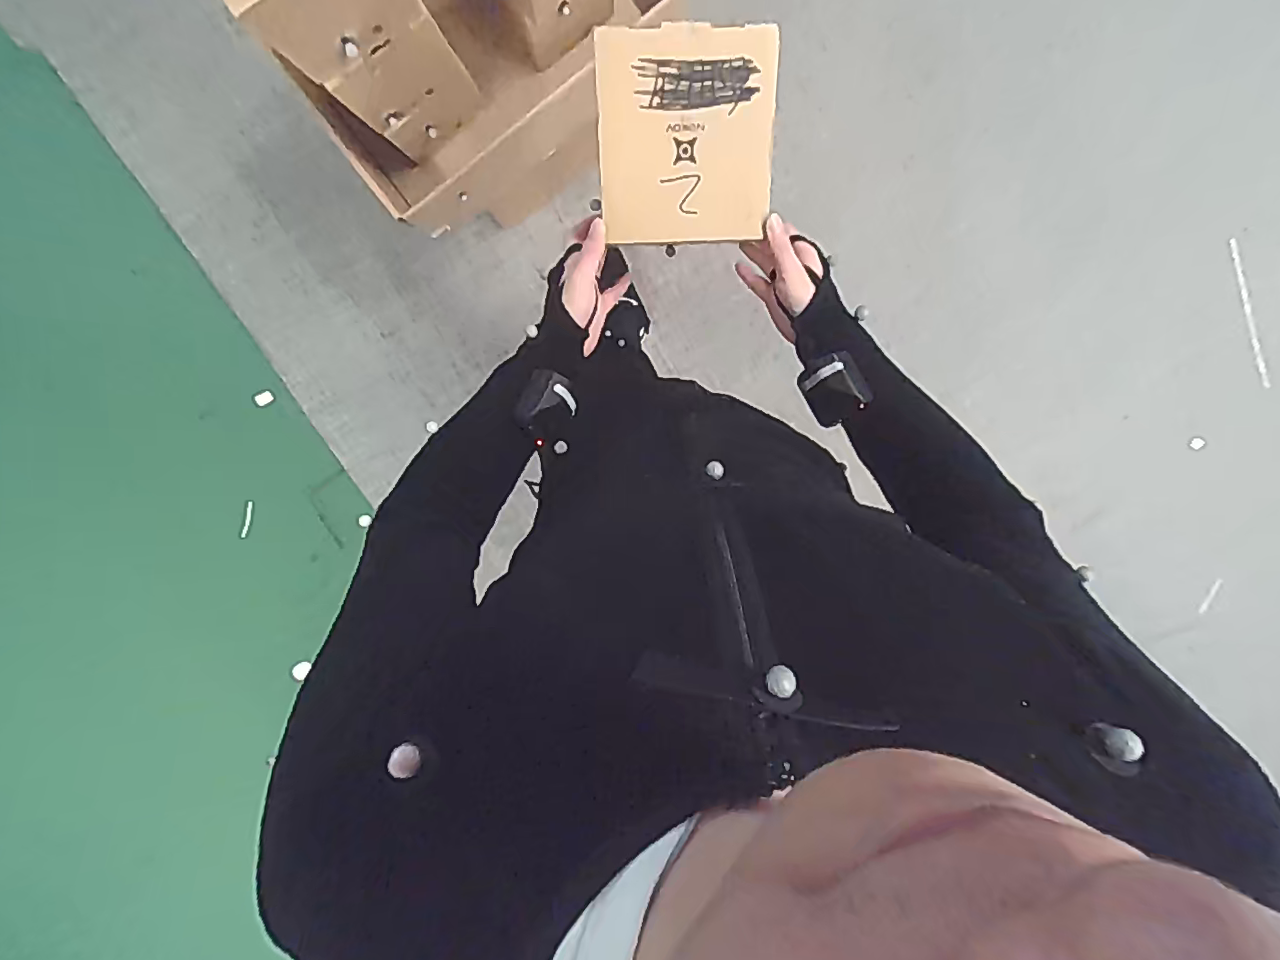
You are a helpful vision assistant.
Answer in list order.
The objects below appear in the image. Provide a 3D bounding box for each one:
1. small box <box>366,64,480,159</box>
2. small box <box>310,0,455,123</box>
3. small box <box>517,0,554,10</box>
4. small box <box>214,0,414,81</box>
[{"bbox_3d":[-0.391,-0.664,0.888,0.168,0.176,0.179,-35,104,7],"label":"small box"},{"bbox_3d":[-0.381,-0.623,0.729,0.168,0.176,0.179,-31,103,5],"label":"small box"},{"bbox_3d":[-0.141,-0.771,0.701,0.168,0.176,0.179,-38,104,6],"label":"small box"},{"bbox_3d":[-0.378,-0.582,0.572,0.168,0.176,0.179,-30,105,5],"label":"small box"}]
